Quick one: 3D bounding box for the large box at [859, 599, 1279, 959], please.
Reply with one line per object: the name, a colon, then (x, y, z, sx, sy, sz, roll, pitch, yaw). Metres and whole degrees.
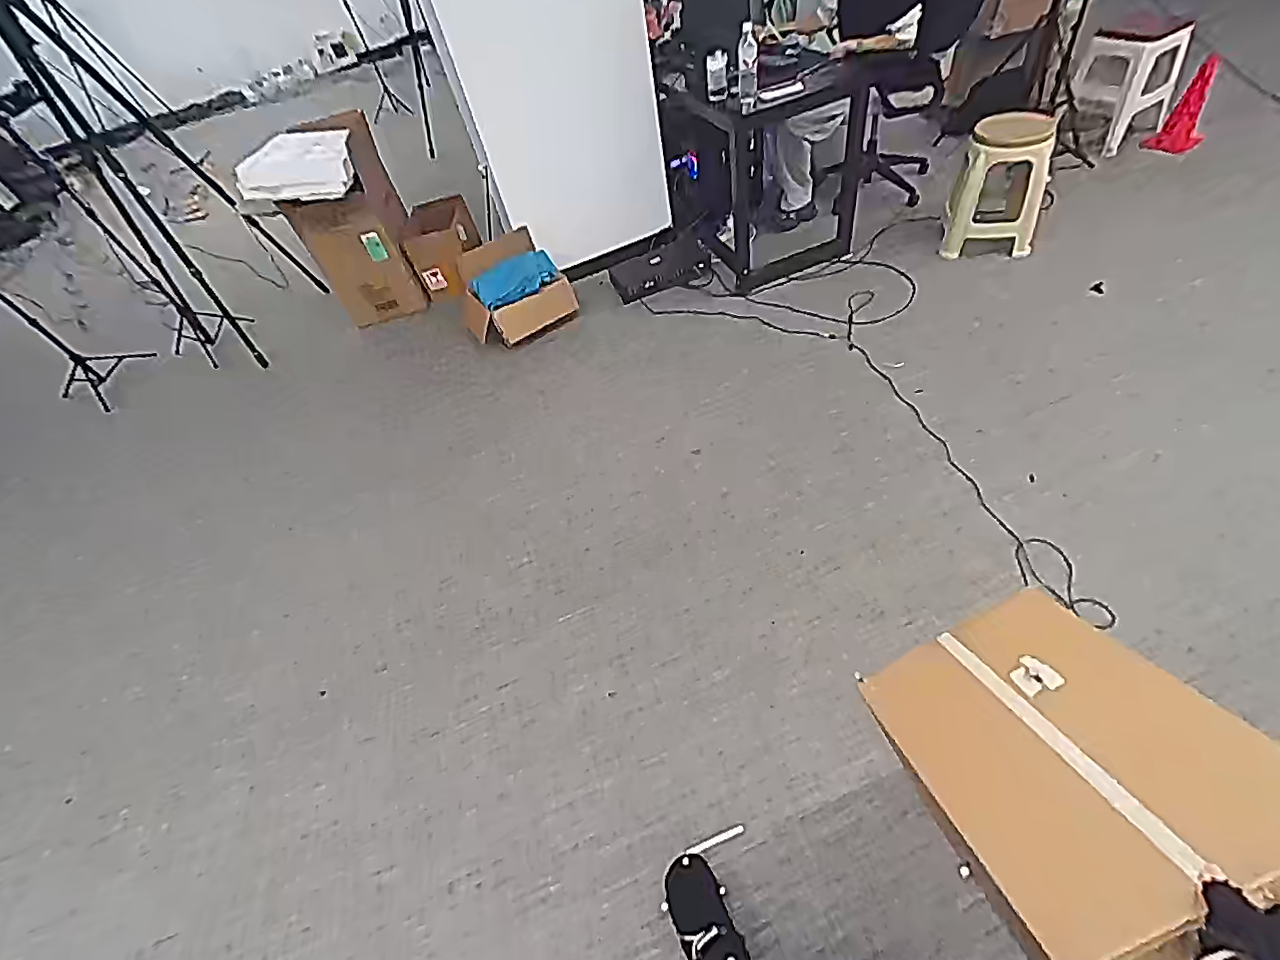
large box: (0.582, 0.442, 0.724, 0.320, 0.320, 0.408, -30, 18, 3)
